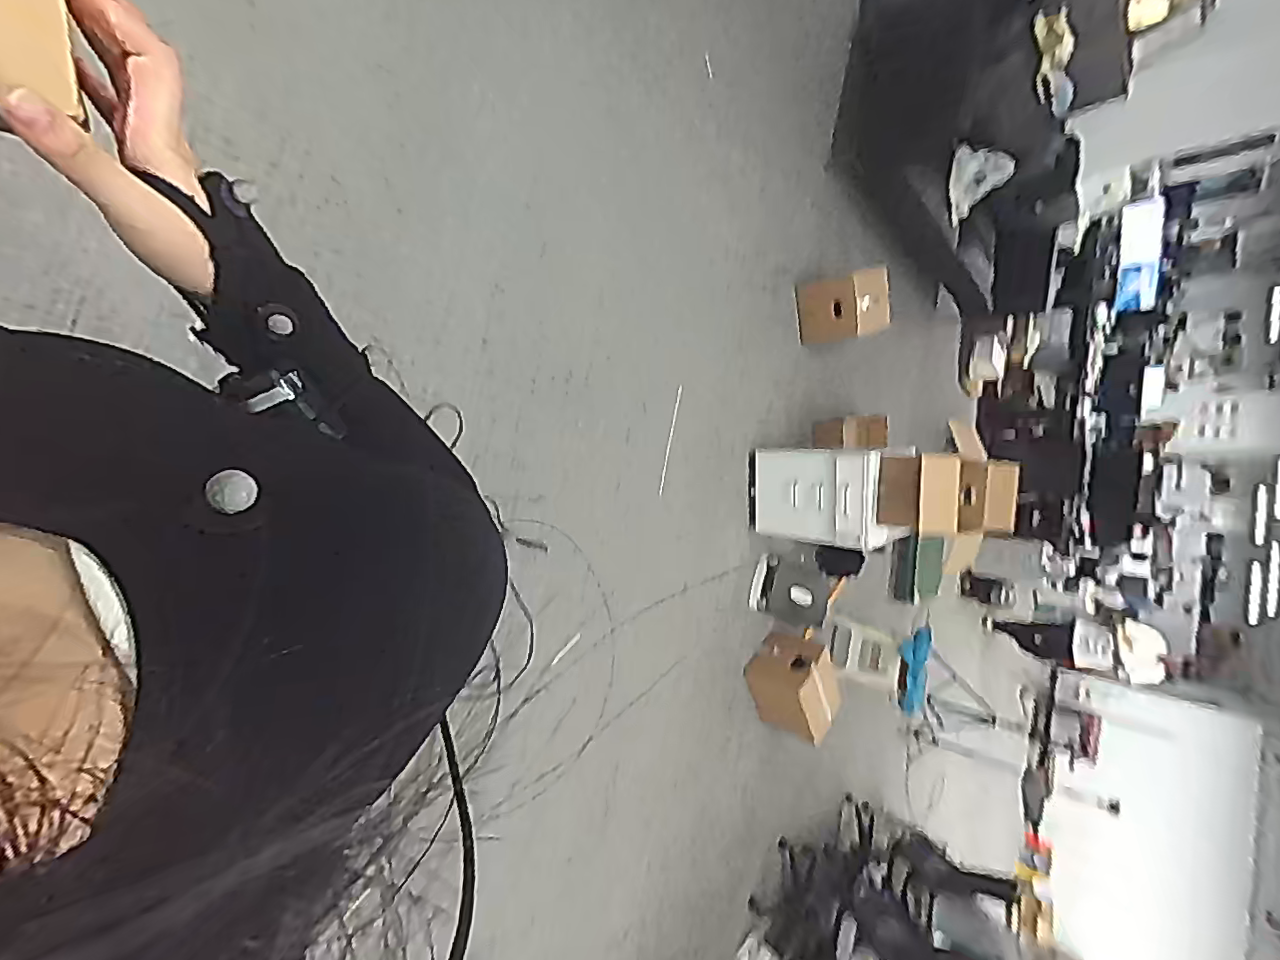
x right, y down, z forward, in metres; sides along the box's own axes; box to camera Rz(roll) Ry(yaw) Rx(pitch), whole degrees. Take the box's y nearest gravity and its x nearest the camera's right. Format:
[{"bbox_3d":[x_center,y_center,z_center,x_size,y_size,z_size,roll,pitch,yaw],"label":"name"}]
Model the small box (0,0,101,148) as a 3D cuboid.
[{"bbox_3d":[-0.345,-0.260,0.221,0.168,0.176,0.179,-7,113,-43],"label":"small box"}]
